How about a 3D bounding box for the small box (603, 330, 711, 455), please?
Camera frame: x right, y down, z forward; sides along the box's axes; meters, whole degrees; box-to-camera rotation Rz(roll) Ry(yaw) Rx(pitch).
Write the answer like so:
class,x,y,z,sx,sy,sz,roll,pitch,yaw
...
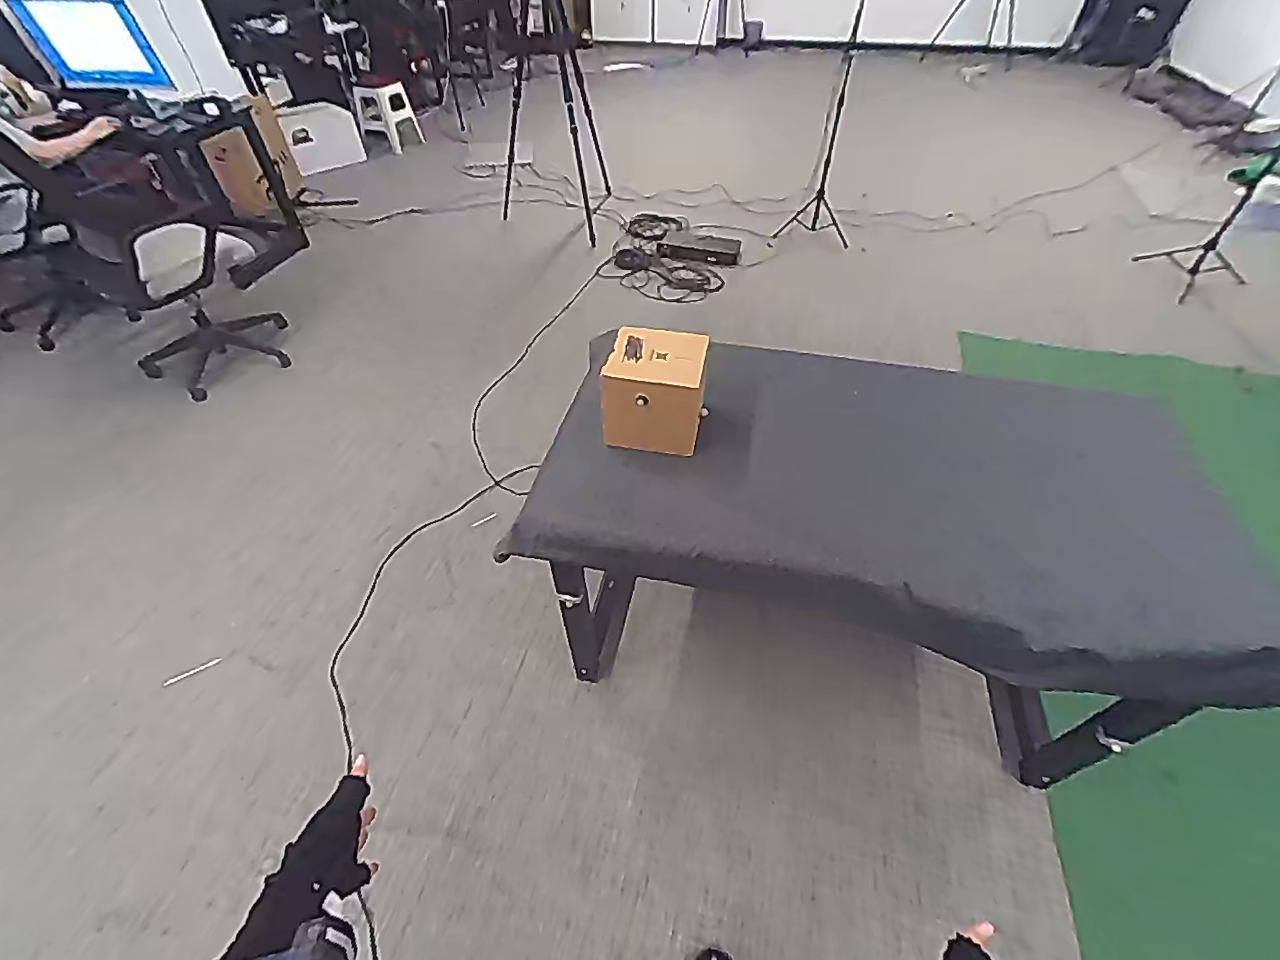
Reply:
class,x,y,z,sx,sy,sz,roll,pitch,yaw
small box,0.035,-0.166,1.043,0.179,0.176,0.168,9,48,7
